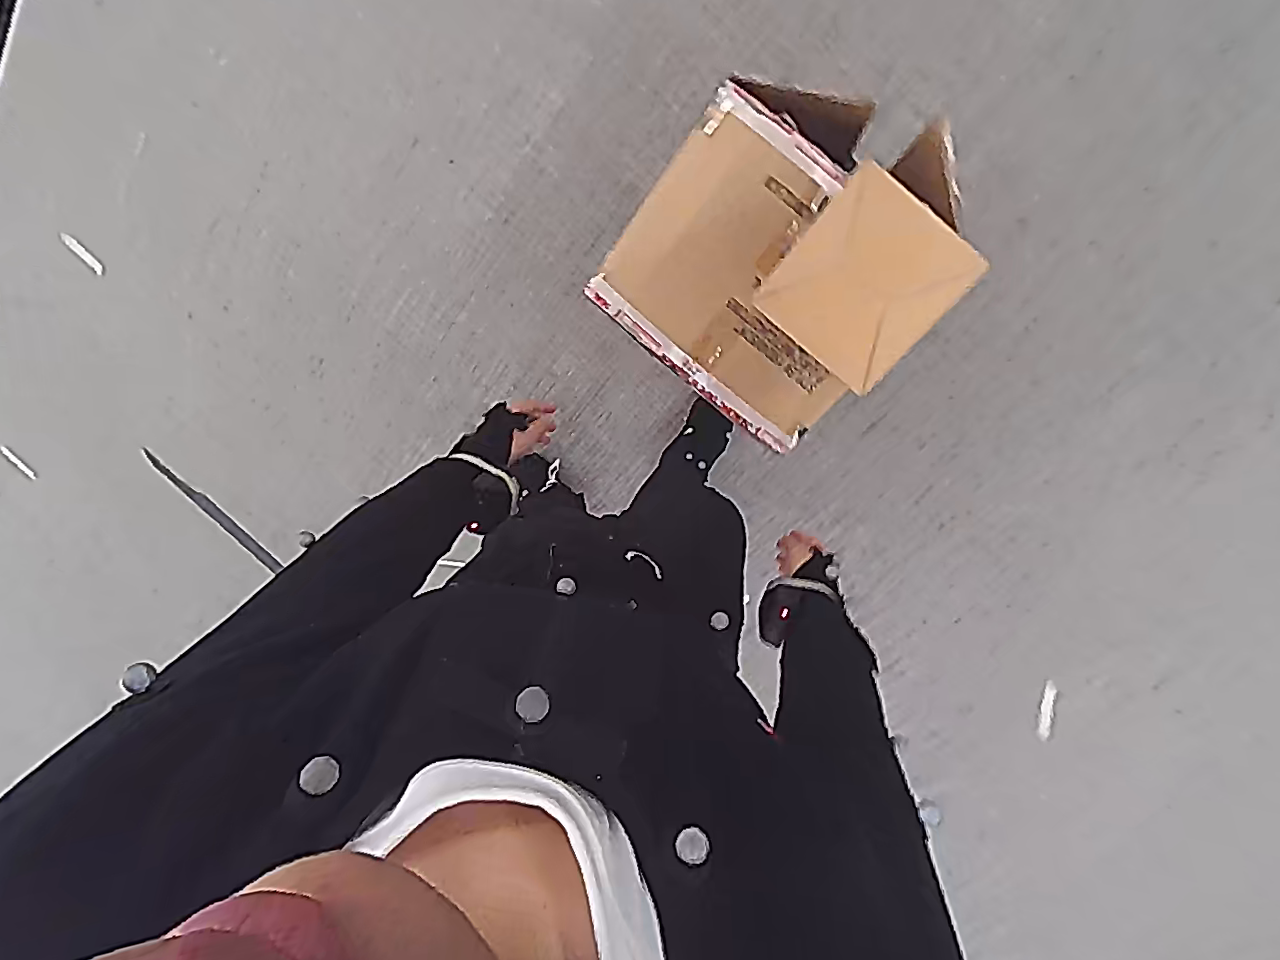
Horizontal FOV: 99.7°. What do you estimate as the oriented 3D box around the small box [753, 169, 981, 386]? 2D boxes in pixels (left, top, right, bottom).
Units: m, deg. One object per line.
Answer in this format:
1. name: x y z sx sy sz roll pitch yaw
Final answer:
1. small box: 0.250 -0.227 0.642 0.168 0.176 0.179 40 111 -3
